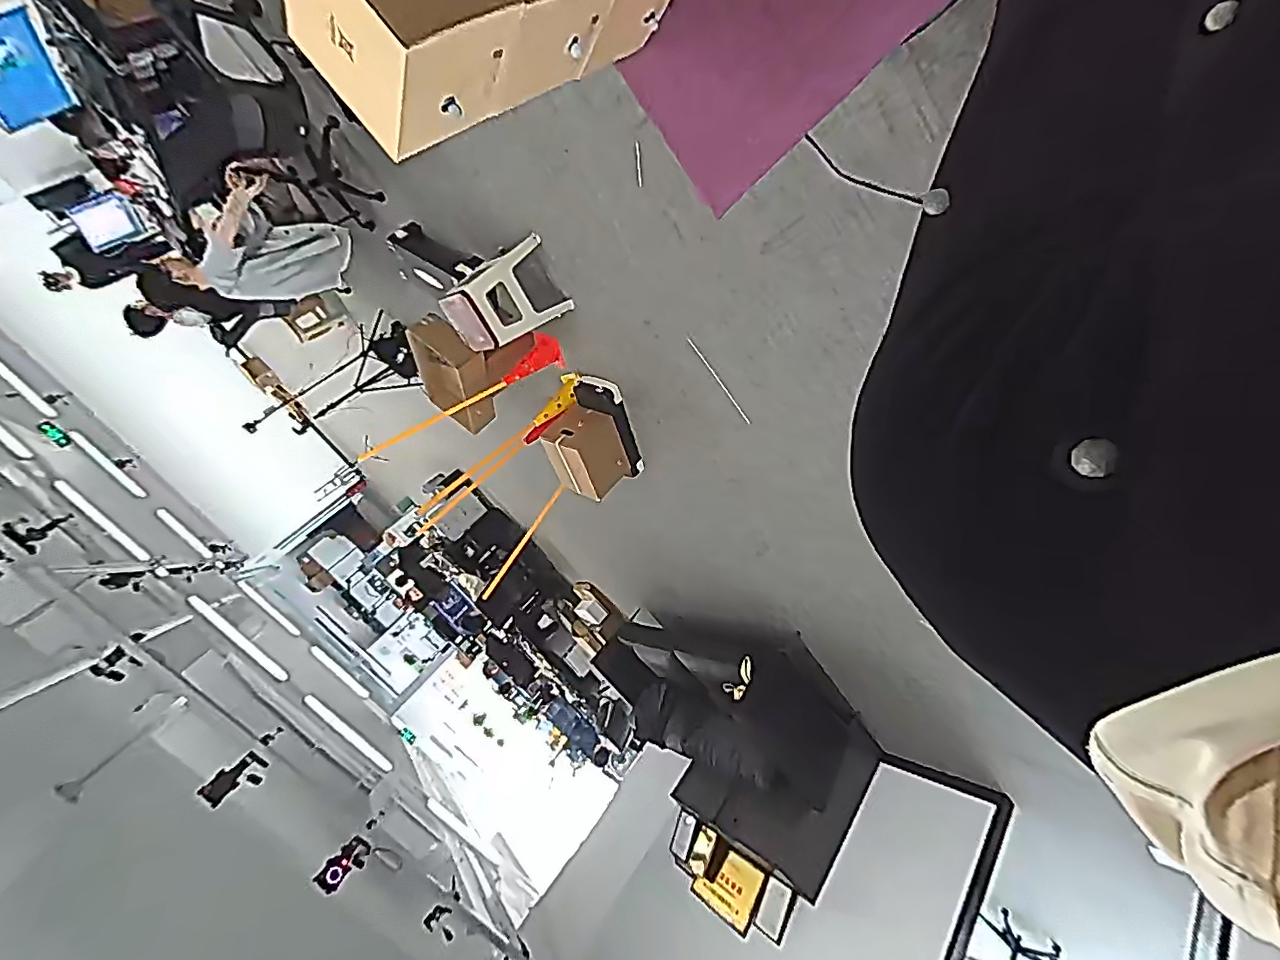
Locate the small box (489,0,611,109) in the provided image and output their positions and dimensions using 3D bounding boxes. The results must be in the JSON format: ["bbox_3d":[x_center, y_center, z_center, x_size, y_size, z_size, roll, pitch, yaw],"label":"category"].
[{"bbox_3d":[-0.161,-0.626,0.677,0.179,0.176,0.168,49,154,-12],"label":"small box"}]

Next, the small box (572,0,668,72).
[{"bbox_3d":[-0.060,-0.731,0.751,0.179,0.176,0.168,49,153,-13],"label":"small box"}]

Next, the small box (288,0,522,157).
[{"bbox_3d":[-0.261,-0.520,0.606,0.179,0.176,0.168,50,154,-11],"label":"small box"}]
